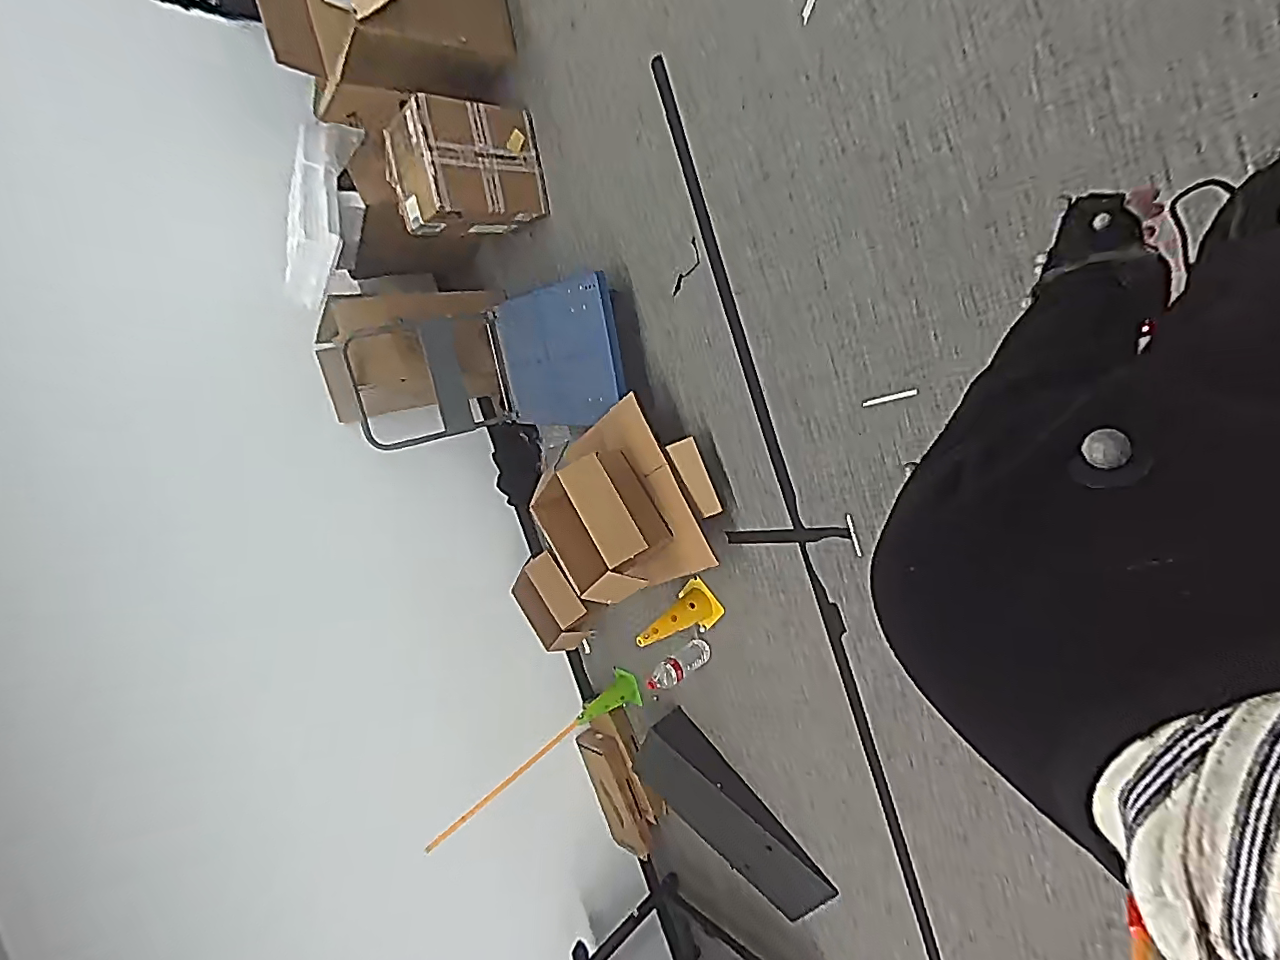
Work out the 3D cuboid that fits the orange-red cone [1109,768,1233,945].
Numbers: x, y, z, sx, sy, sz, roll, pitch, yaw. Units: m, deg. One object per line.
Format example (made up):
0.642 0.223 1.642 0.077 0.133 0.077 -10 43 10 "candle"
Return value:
1.095 0.830 1.148 0.199 0.360 0.198 -5 103 52 "orange-red cone"
